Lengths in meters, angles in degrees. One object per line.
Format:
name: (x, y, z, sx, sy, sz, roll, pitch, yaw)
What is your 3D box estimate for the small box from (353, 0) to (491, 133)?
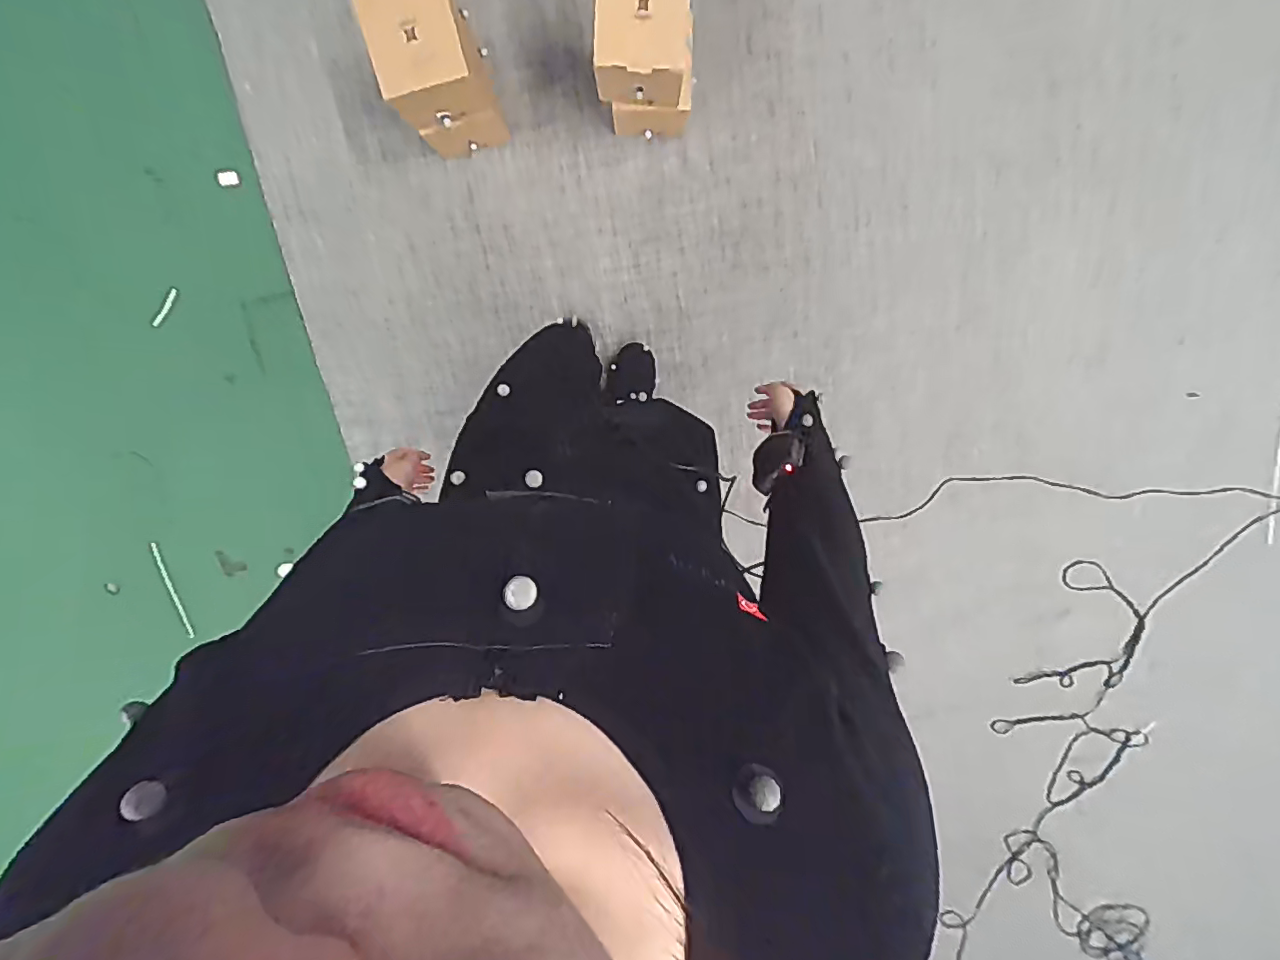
small box: (-0.400, -0.796, 1.019, 0.168, 0.176, 0.179, -13, 105, 4)

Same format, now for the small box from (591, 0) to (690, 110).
small box: (0.003, -0.822, 1.011, 0.168, 0.176, 0.179, 4, 106, -1)

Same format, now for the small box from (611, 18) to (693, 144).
small box: (0.023, -0.857, 1.171, 0.168, 0.176, 0.179, 0, 106, 0)

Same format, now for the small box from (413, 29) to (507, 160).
small box: (-0.405, -0.833, 1.176, 0.168, 0.176, 0.179, -13, 105, 4)
